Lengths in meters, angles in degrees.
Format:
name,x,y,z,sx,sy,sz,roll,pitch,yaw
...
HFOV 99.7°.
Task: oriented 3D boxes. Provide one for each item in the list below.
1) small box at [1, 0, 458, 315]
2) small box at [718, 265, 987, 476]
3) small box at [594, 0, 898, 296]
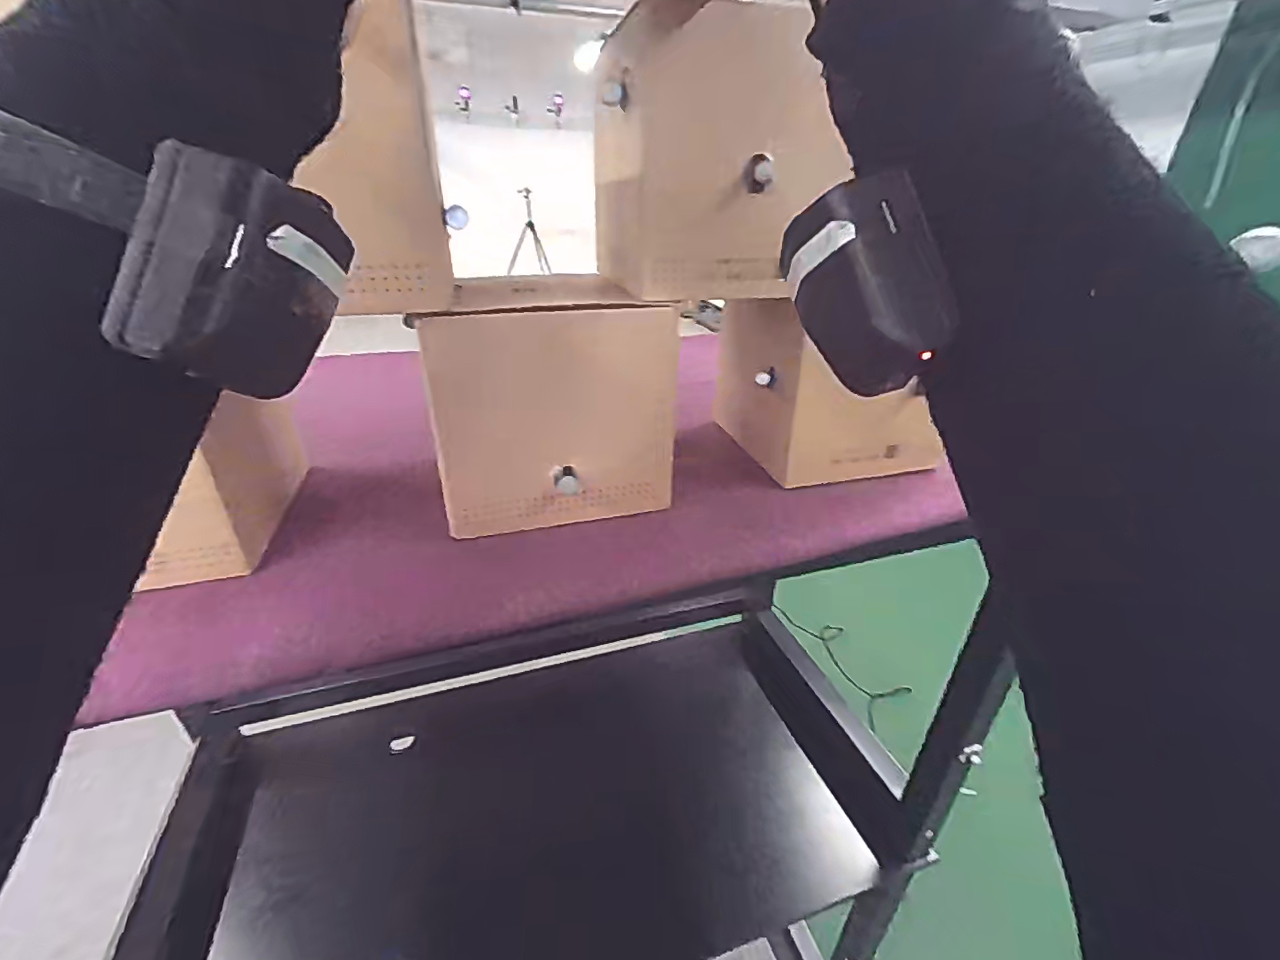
name,x,y,z,sx,sy,sz,roll,pitch,yaw
small box,-0.217,-0.201,0.336,0.179,0.176,0.168,-6,28,-15
small box,0.185,-0.111,0.531,0.168,0.176,0.179,-6,28,-12
small box,0.061,-0.241,0.422,0.168,0.176,0.179,-6,28,-13
